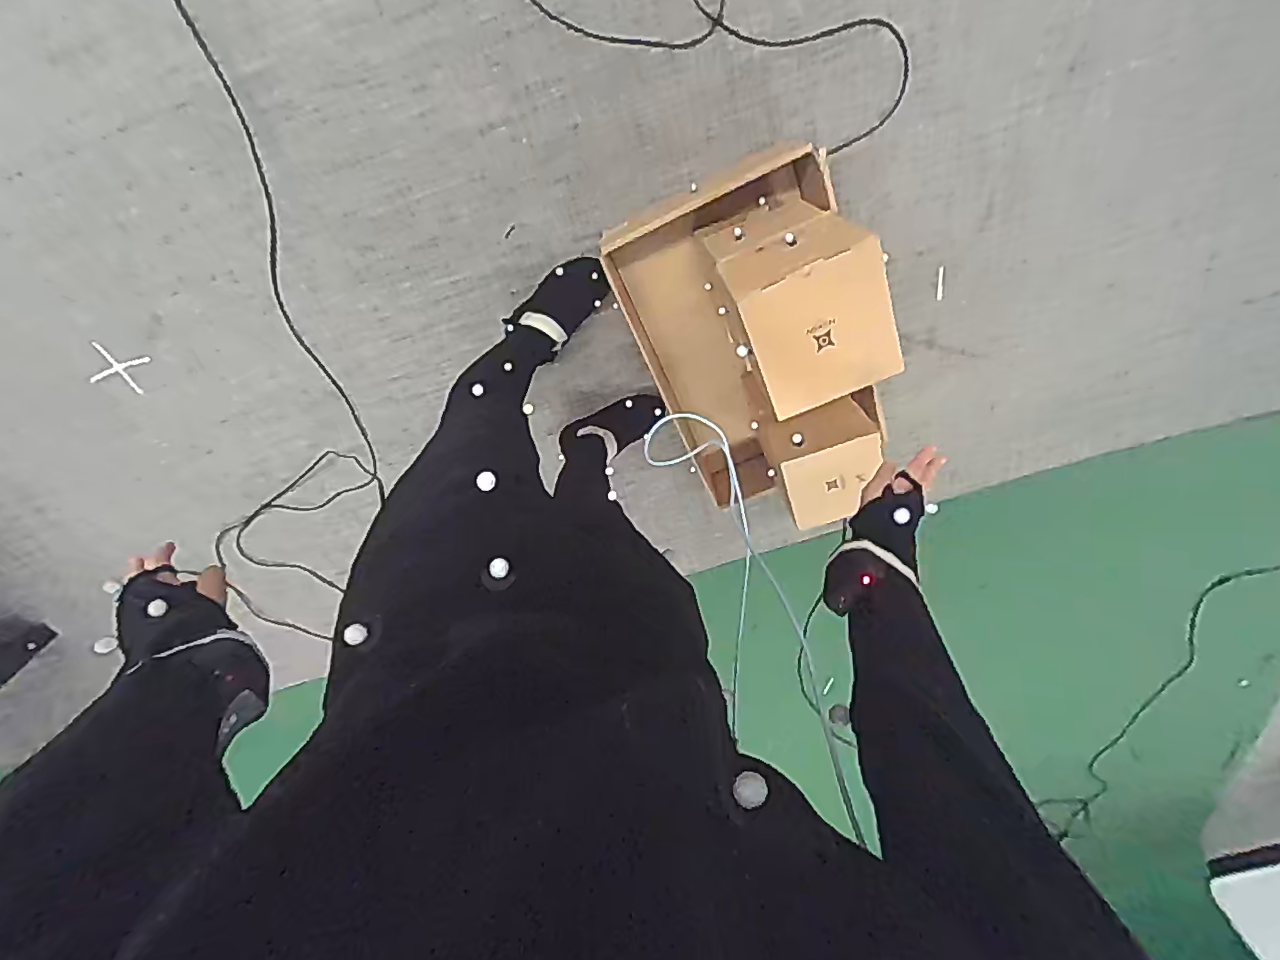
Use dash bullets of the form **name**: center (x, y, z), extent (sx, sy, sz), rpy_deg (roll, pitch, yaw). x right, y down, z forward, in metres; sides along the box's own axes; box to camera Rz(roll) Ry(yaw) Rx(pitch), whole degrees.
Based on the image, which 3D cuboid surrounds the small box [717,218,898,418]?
- **small box**: center (0.213, -0.217, 0.713), extent (0.168, 0.176, 0.179), rpy_deg (-22, 121, 12)

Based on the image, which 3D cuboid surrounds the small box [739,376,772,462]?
- **small box**: center (0.323, -0.138, 1.159), extent (0.168, 0.176, 0.179), rpy_deg (-18, 122, 8)

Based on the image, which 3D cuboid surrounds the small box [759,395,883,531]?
- **small box**: center (0.336, -0.036, 1.029), extent (0.179, 0.176, 0.168), rpy_deg (-19, 123, 8)

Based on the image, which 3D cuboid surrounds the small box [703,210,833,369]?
- **small box**: center (0.206, -0.306, 0.848), extent (0.168, 0.176, 0.179), rpy_deg (-18, 123, 9)
